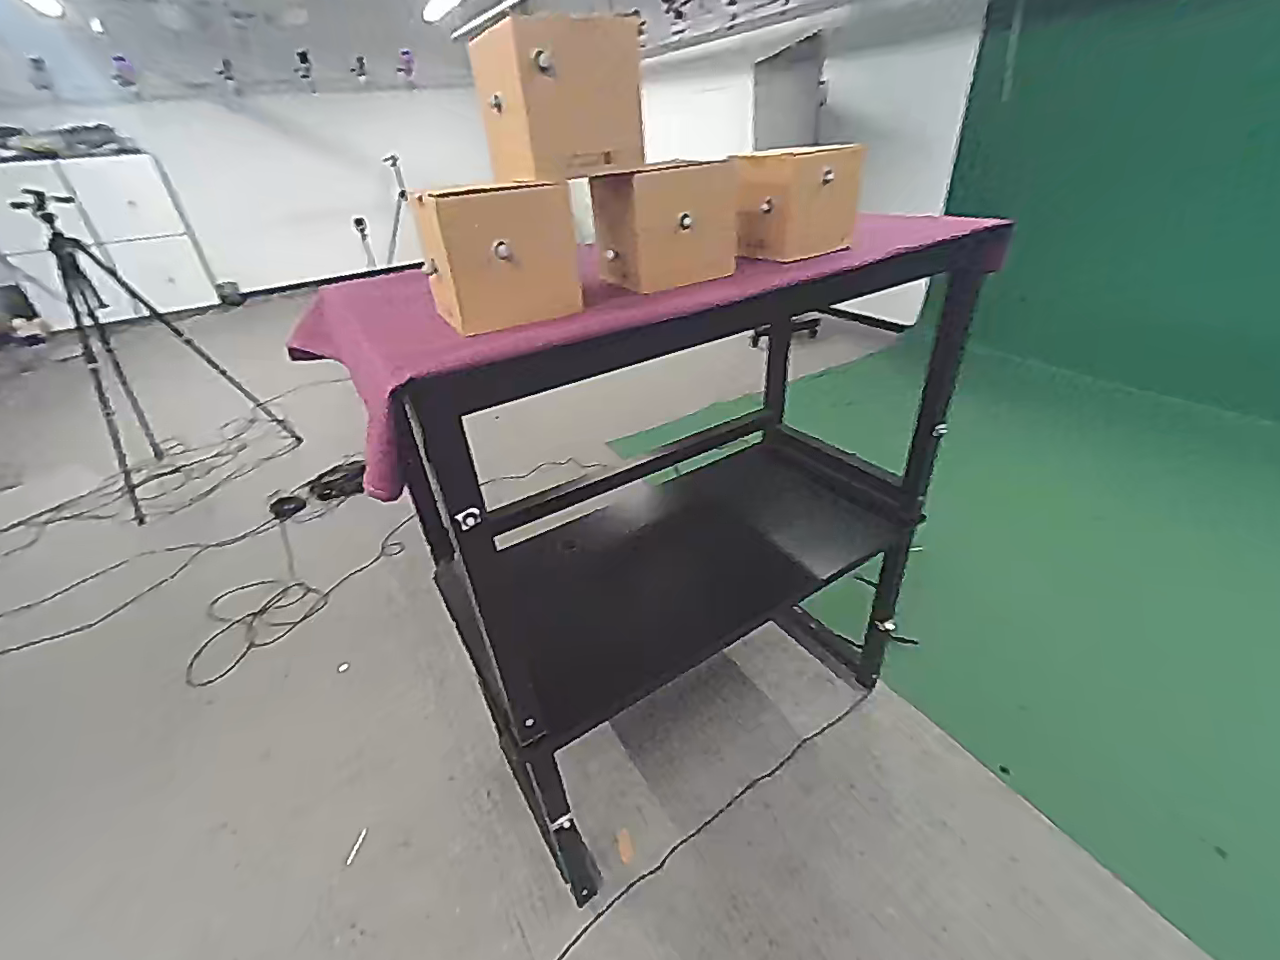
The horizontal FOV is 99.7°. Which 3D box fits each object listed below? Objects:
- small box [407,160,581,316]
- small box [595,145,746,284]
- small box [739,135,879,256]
[{"bbox_3d":[-0.194,-0.331,0.734,0.179,0.176,0.168,-18,37,-22],"label":"small box"},{"bbox_3d":[0.045,-0.421,0.850,0.179,0.176,0.168,-19,36,-20],"label":"small box"},{"bbox_3d":[0.287,-0.503,0.956,0.179,0.176,0.168,-20,36,-23],"label":"small box"}]
